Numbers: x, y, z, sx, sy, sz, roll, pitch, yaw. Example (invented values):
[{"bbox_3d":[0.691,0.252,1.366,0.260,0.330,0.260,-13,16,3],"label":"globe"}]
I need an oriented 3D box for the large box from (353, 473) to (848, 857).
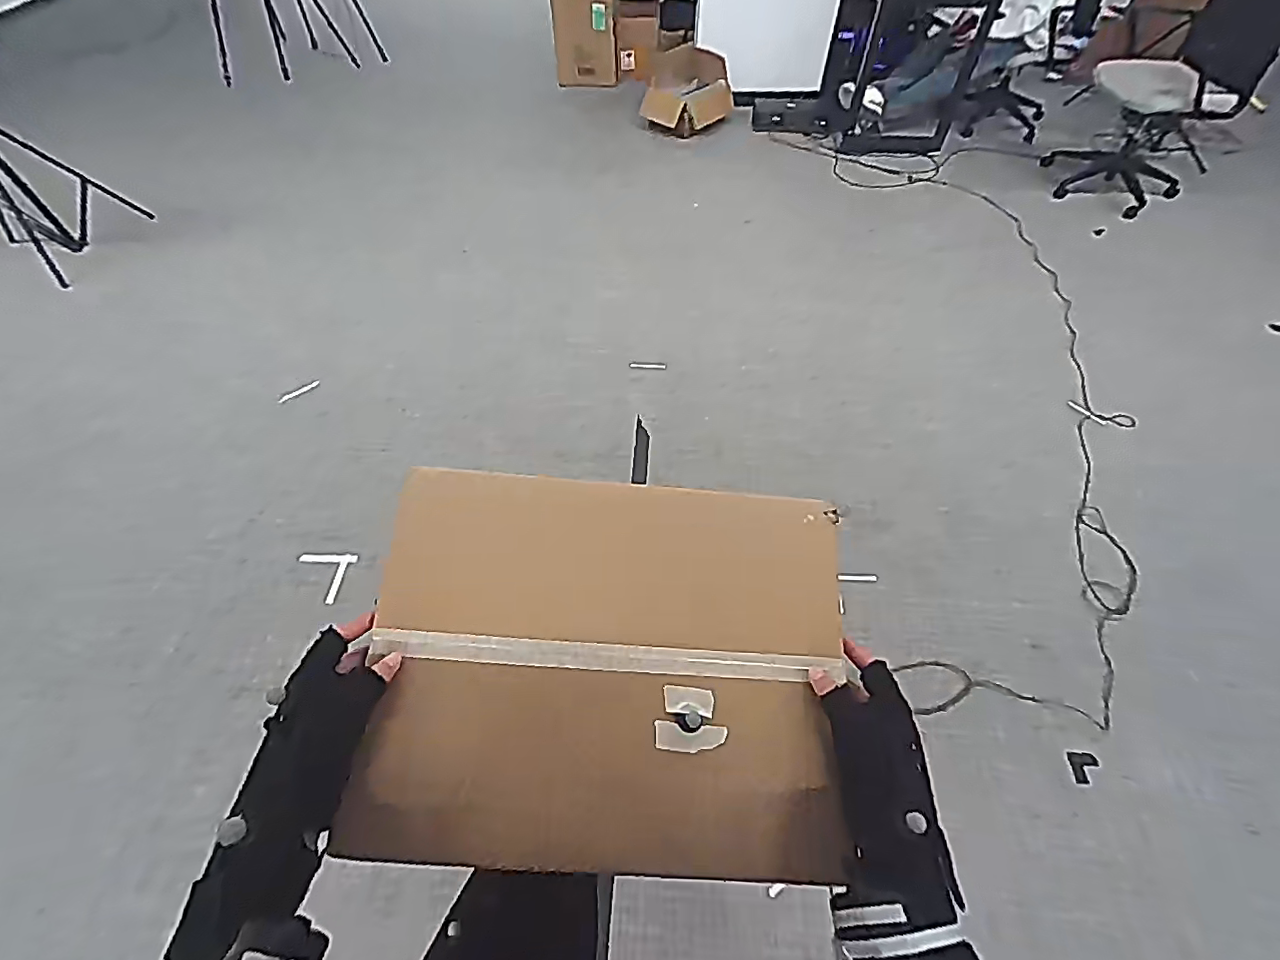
[{"bbox_3d":[-0.033,0.202,0.618,0.408,0.320,0.320,5,70,-3],"label":"large box"}]
